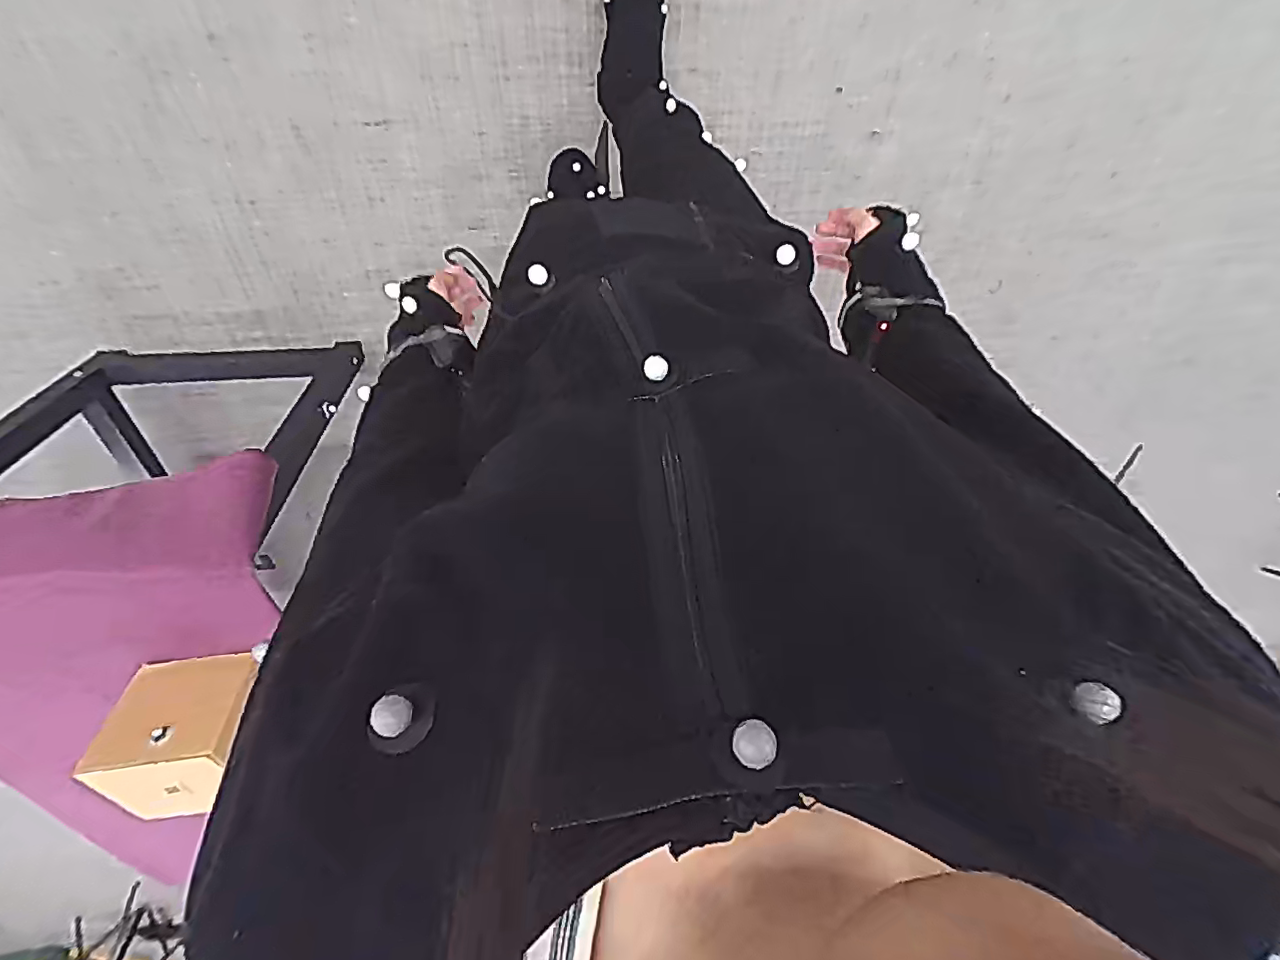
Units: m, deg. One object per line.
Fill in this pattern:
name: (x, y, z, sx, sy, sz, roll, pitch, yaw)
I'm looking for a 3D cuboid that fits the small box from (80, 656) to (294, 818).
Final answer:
small box: (-0.669, 0.389, 0.835, 0.179, 0.176, 0.168, -5, 130, -5)
